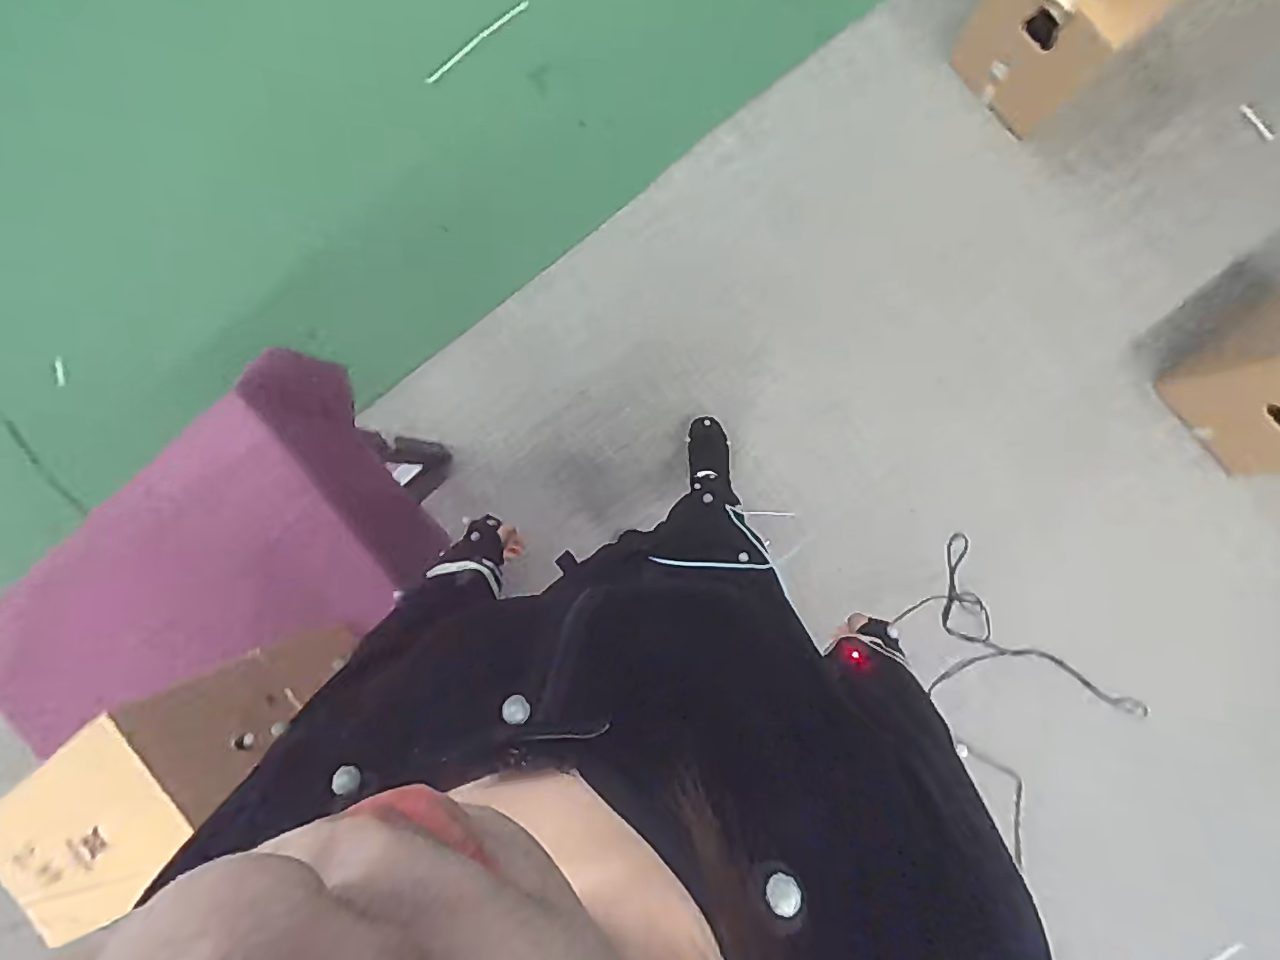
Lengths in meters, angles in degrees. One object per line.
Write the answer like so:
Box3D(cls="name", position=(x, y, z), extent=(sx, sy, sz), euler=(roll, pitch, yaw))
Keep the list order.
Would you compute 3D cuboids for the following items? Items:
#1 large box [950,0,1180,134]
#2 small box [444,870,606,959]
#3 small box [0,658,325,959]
Box3D(cls="large box", position=(1.067, -1.162, 1.299), extent=(0.408, 0.320, 0.320), euler=(-39, 87, 1))
Box3D(cls="small box", position=(-0.163, 0.673, 0.704), extent=(0.179, 0.176, 0.168), euler=(-38, 87, 2))
Box3D(cls="small box", position=(-0.469, 0.317, 0.560), extent=(0.179, 0.176, 0.168), euler=(-40, 87, 3))
